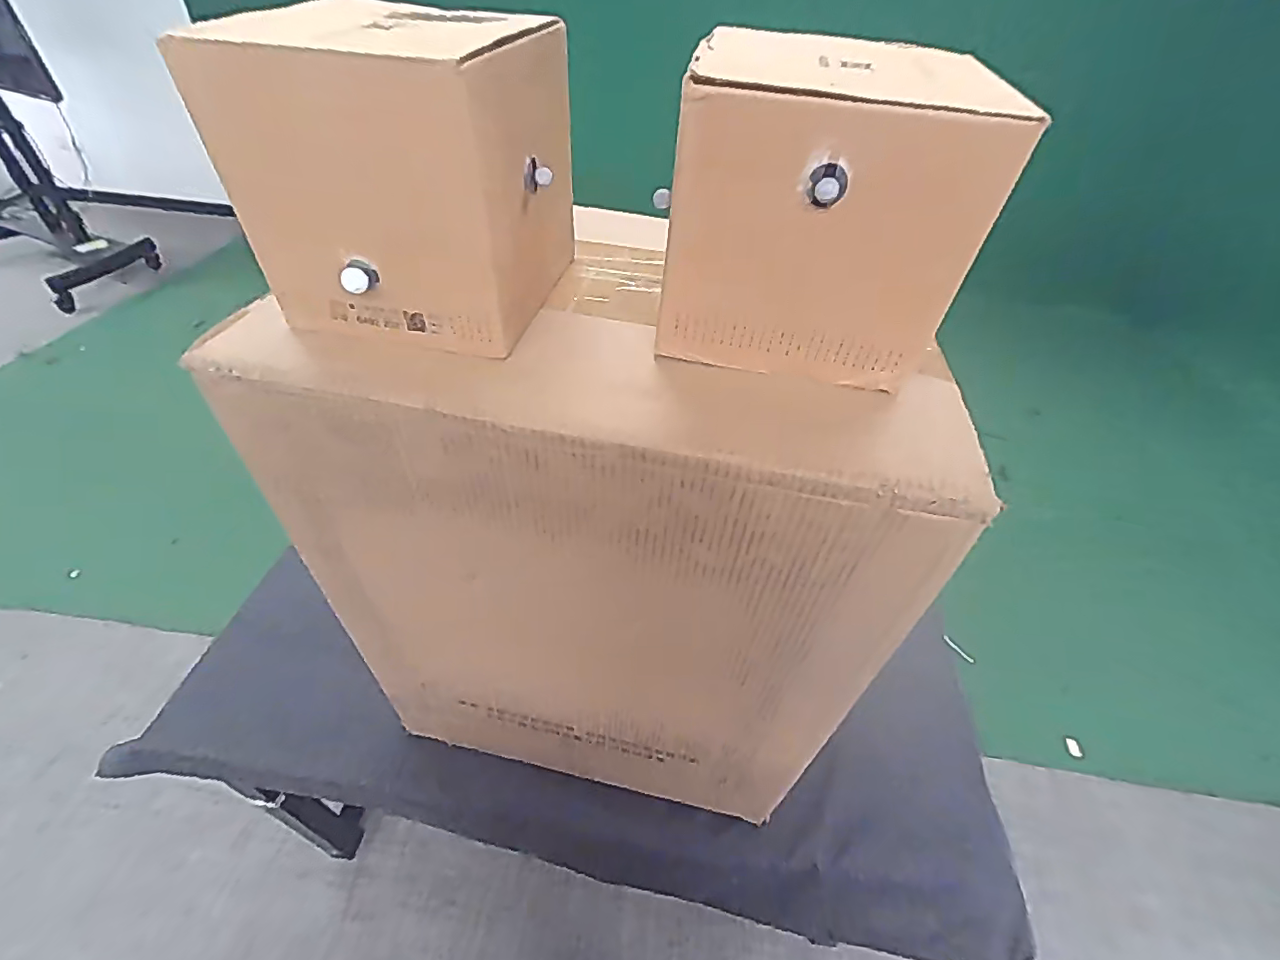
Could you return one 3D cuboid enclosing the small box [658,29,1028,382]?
[{"bbox_3d":[0.114,-0.190,0.381,0.179,0.176,0.168,11,48,3],"label":"small box"}]

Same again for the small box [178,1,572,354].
[{"bbox_3d":[-0.150,-0.216,0.387,0.168,0.176,0.179,10,47,6],"label":"small box"}]
